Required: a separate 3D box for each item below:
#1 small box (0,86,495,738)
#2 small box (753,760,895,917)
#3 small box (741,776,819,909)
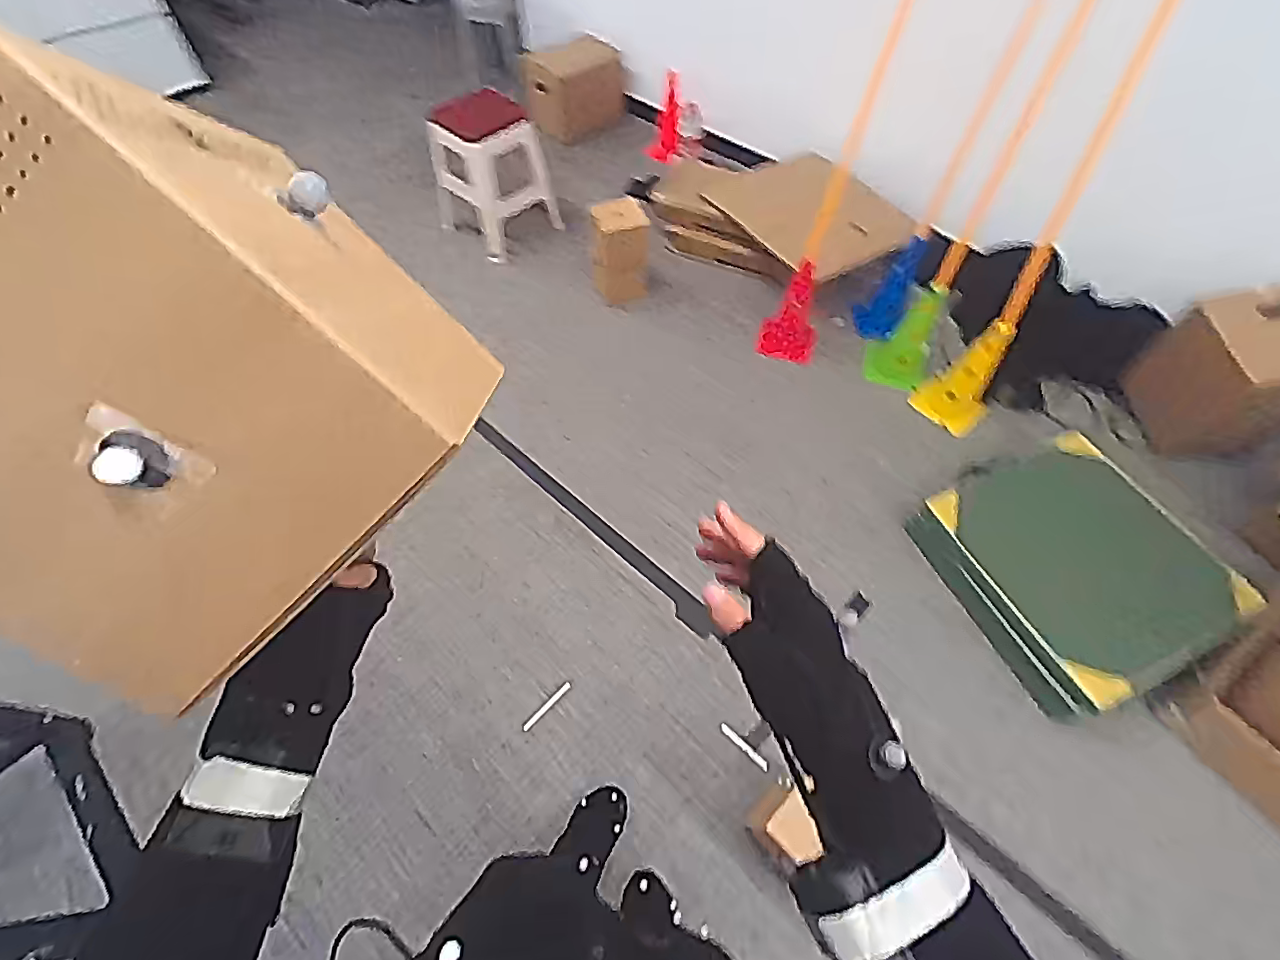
[{"bbox_3d":[-0.199,-0.028,0.260,0.179,0.176,0.168,-44,21,8],"label":"small box"},{"bbox_3d":[0.334,0.665,1.019,0.179,0.176,0.168,-38,64,-21],"label":"small box"},{"bbox_3d":[0.342,0.756,1.154,0.168,0.176,0.179,-37,66,-22],"label":"small box"}]
